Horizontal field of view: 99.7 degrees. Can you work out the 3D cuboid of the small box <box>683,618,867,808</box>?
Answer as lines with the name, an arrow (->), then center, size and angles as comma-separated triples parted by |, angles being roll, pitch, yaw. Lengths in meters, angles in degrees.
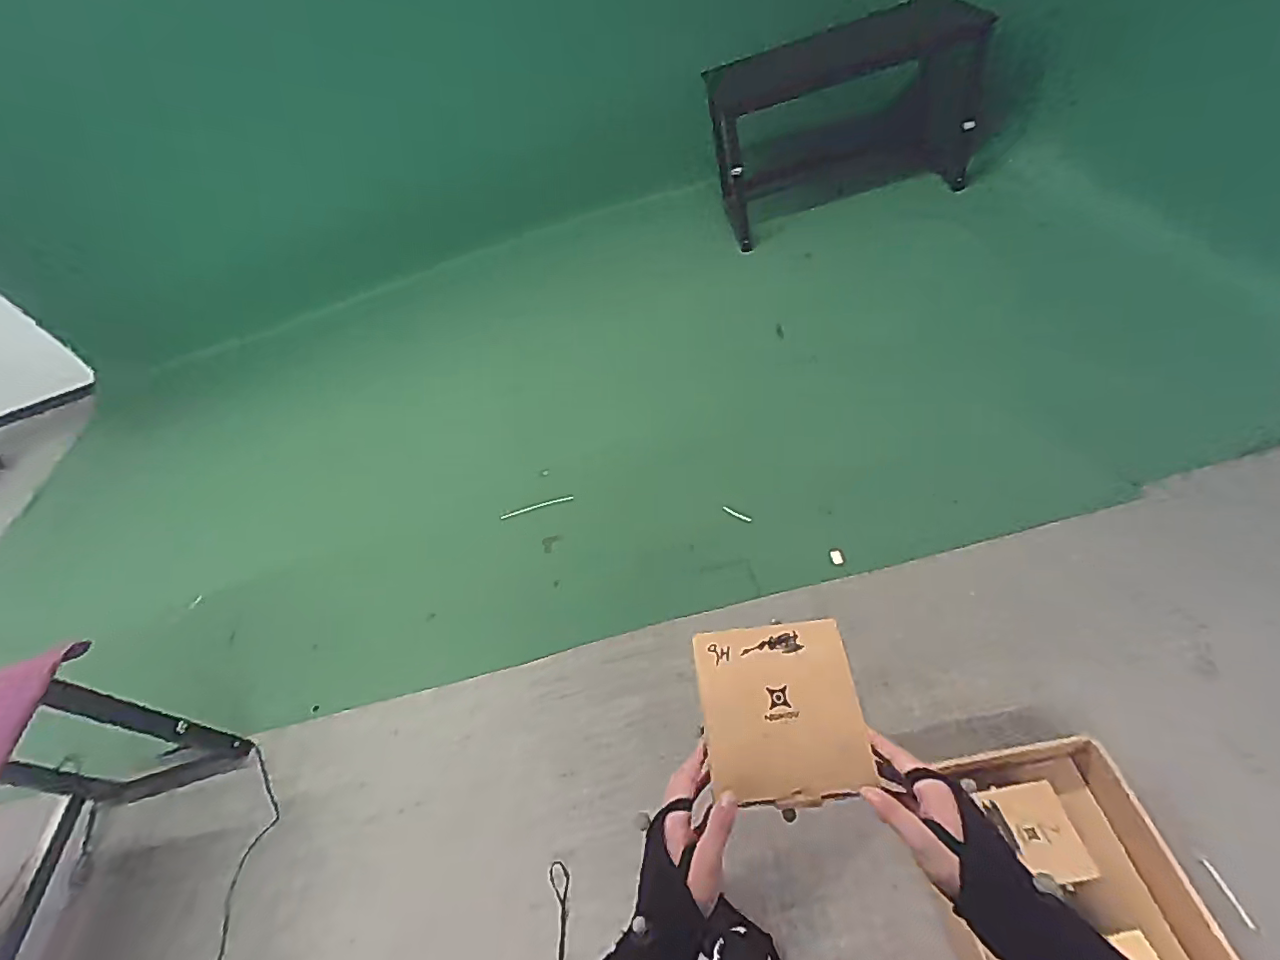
small box -> 0.146, 0.280, 0.641 | 0.168, 0.176, 0.179 | -8, 58, 3
